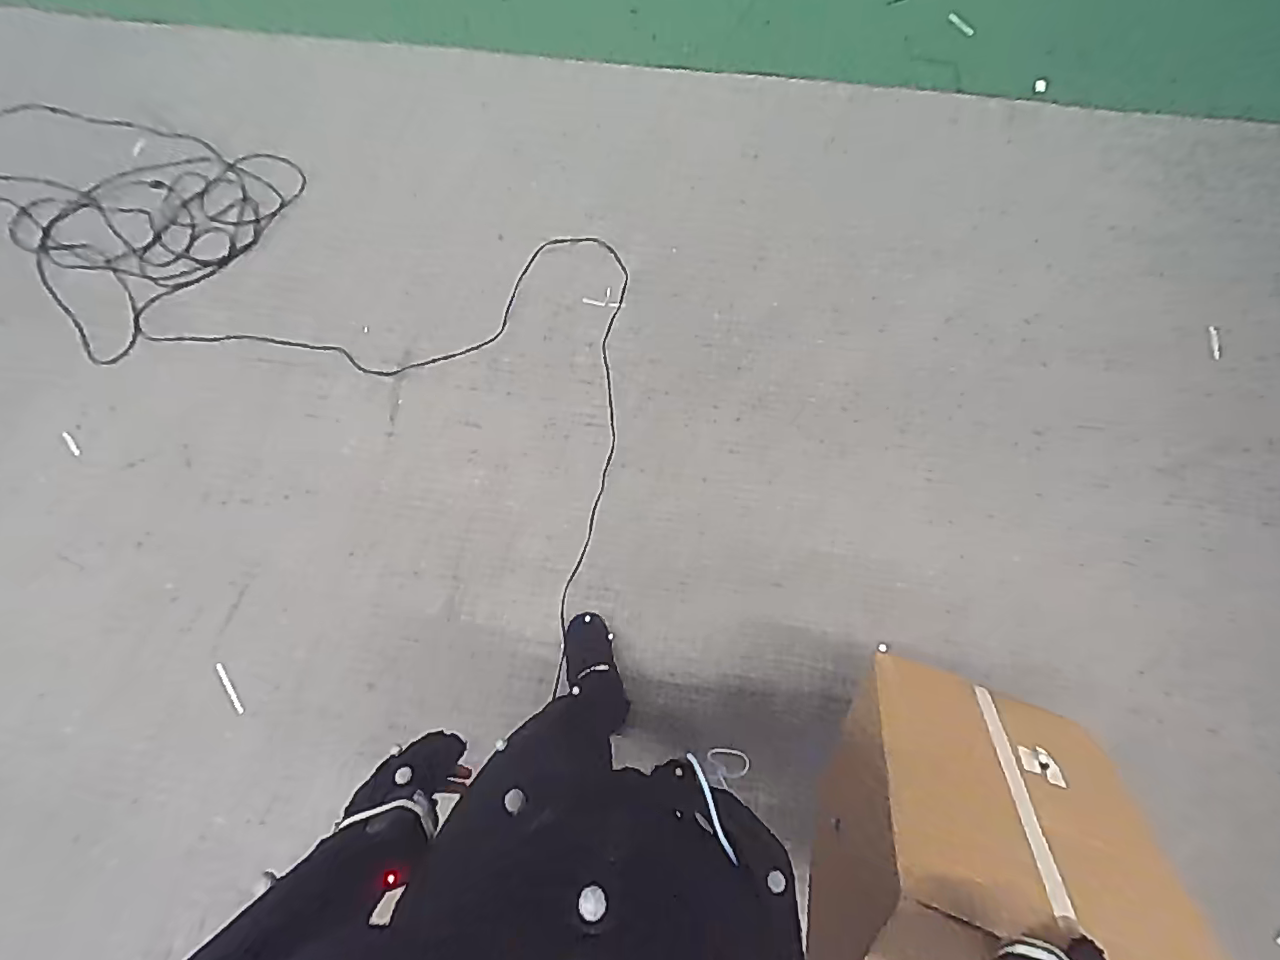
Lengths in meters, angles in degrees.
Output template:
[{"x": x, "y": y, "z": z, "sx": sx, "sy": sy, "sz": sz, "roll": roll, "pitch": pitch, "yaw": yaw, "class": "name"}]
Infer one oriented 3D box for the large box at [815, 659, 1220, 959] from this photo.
[{"x": 0.430, "y": 0.526, "z": 0.717, "sx": 0.320, "sy": 0.408, "sz": 0.320, "roll": 18, "pitch": 112, "yaw": 13, "class": "large box"}]
